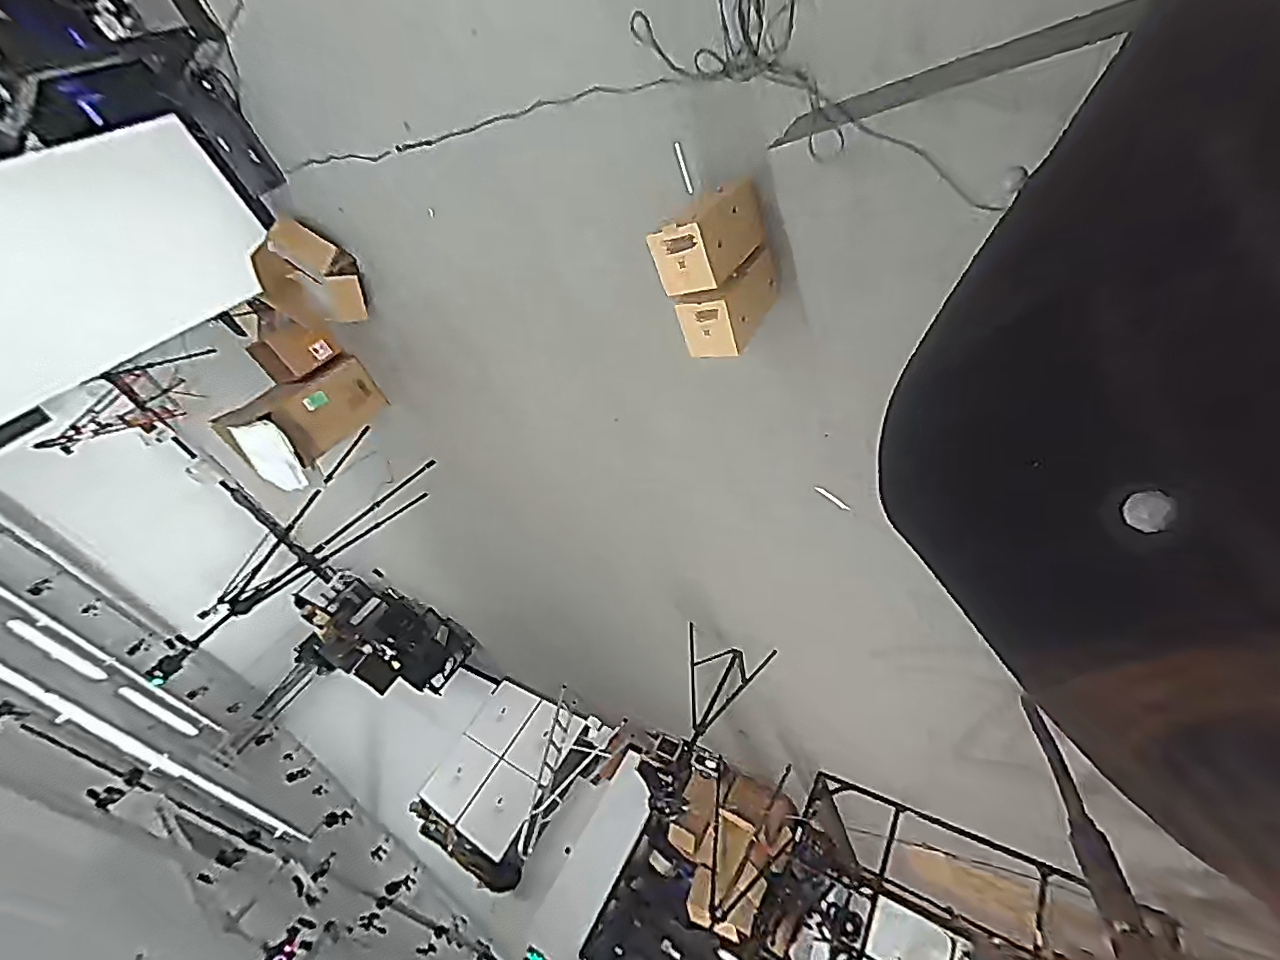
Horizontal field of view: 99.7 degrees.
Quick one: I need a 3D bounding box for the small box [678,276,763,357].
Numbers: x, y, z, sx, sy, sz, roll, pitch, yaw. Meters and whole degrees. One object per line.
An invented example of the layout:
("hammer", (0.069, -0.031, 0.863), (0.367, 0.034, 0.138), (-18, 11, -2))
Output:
("small box", (0.240, -0.481, 1.578), (0.168, 0.176, 0.179), (10, 140, 37))
